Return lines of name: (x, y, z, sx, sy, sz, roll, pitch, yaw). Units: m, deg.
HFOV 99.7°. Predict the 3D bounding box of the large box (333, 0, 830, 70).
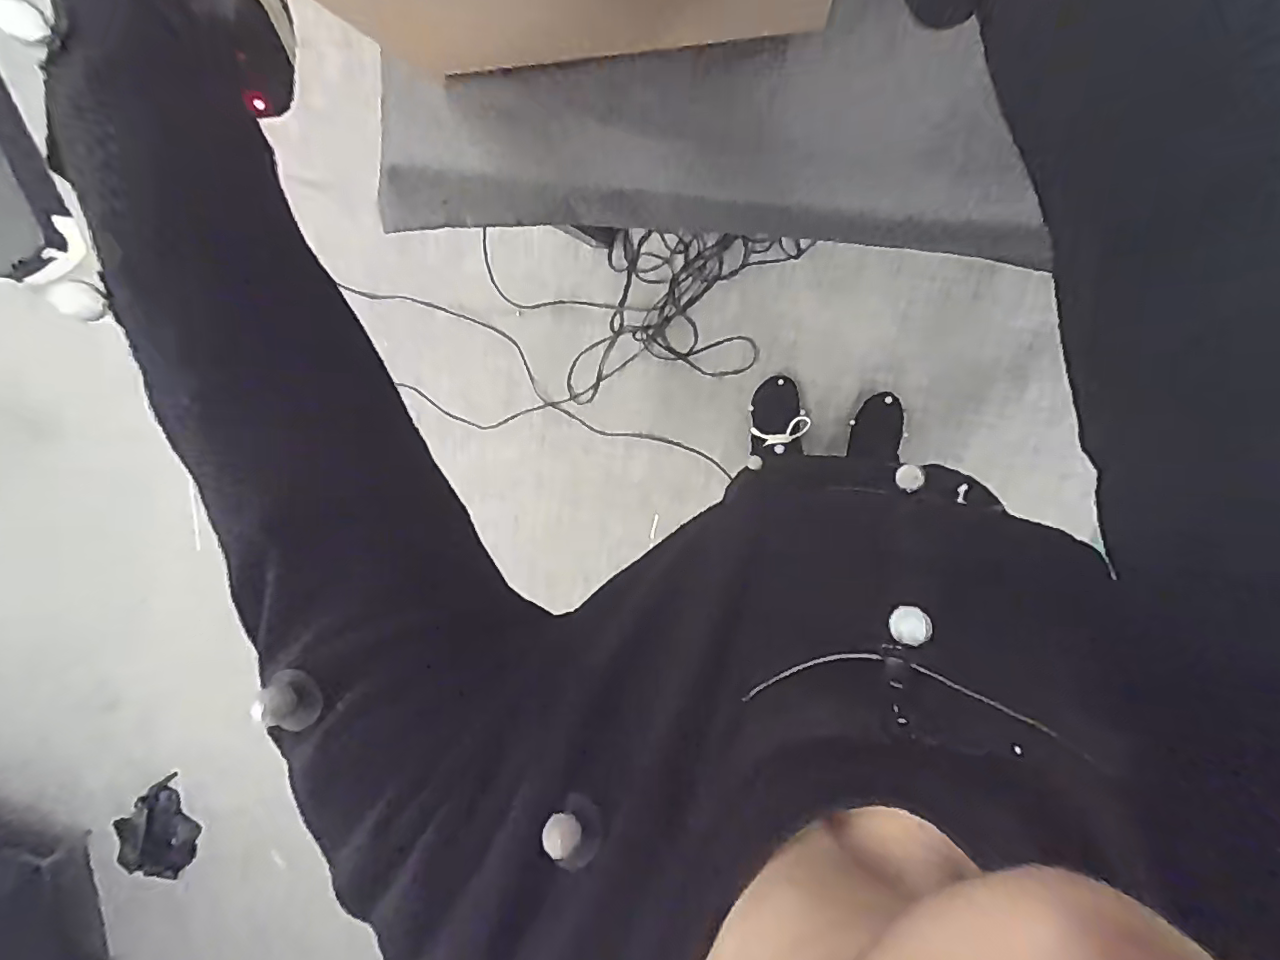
large box: (-0.062, -0.515, 0.331, 0.408, 0.320, 0.320, 1, 108, 11)
